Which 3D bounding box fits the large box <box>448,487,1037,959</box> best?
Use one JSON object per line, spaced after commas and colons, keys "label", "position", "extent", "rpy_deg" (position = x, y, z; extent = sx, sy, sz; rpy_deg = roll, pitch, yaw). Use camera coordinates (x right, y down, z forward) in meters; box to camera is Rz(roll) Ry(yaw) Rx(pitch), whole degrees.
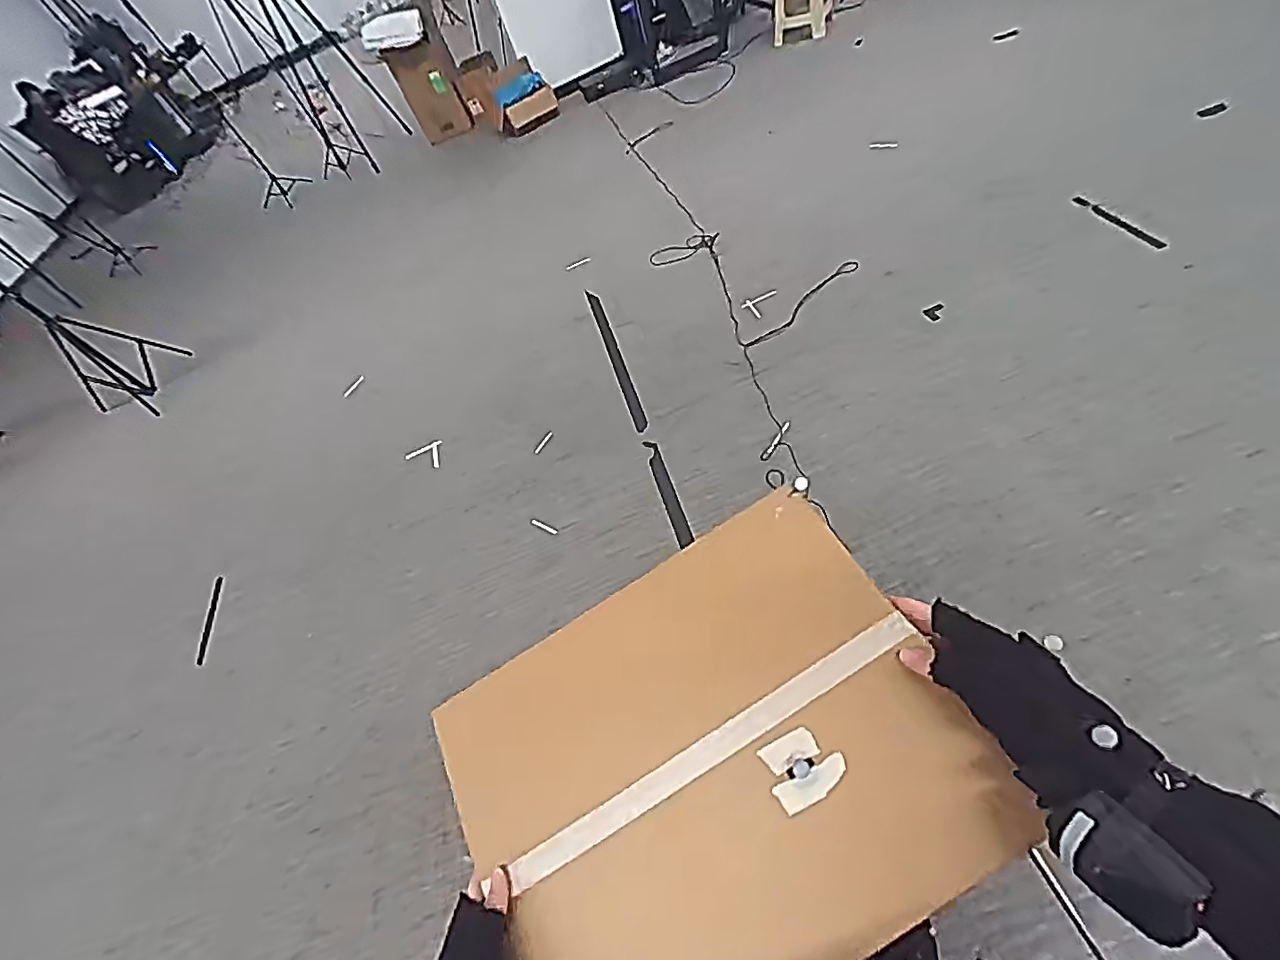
{"label": "large box", "position": [0.085, 0.287, 0.582], "extent": [0.408, 0.320, 0.320], "rpy_deg": [-32, 61, -2]}
